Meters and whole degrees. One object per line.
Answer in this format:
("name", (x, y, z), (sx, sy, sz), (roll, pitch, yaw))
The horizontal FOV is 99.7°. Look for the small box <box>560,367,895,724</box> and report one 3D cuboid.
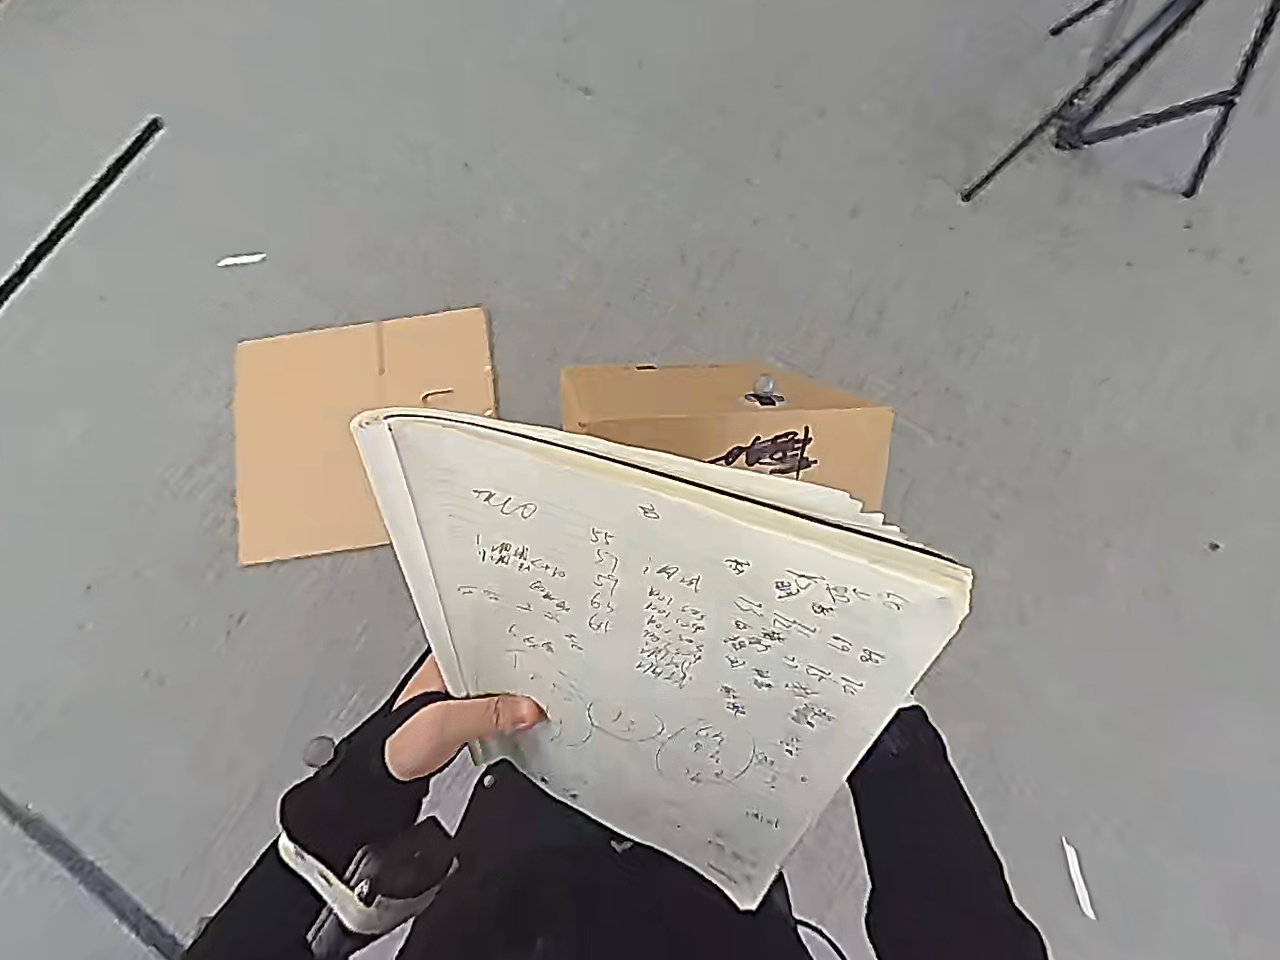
("small box", (0.035, 0.026, 0.363), (0.168, 0.176, 0.179), (-4, 111, -10))
